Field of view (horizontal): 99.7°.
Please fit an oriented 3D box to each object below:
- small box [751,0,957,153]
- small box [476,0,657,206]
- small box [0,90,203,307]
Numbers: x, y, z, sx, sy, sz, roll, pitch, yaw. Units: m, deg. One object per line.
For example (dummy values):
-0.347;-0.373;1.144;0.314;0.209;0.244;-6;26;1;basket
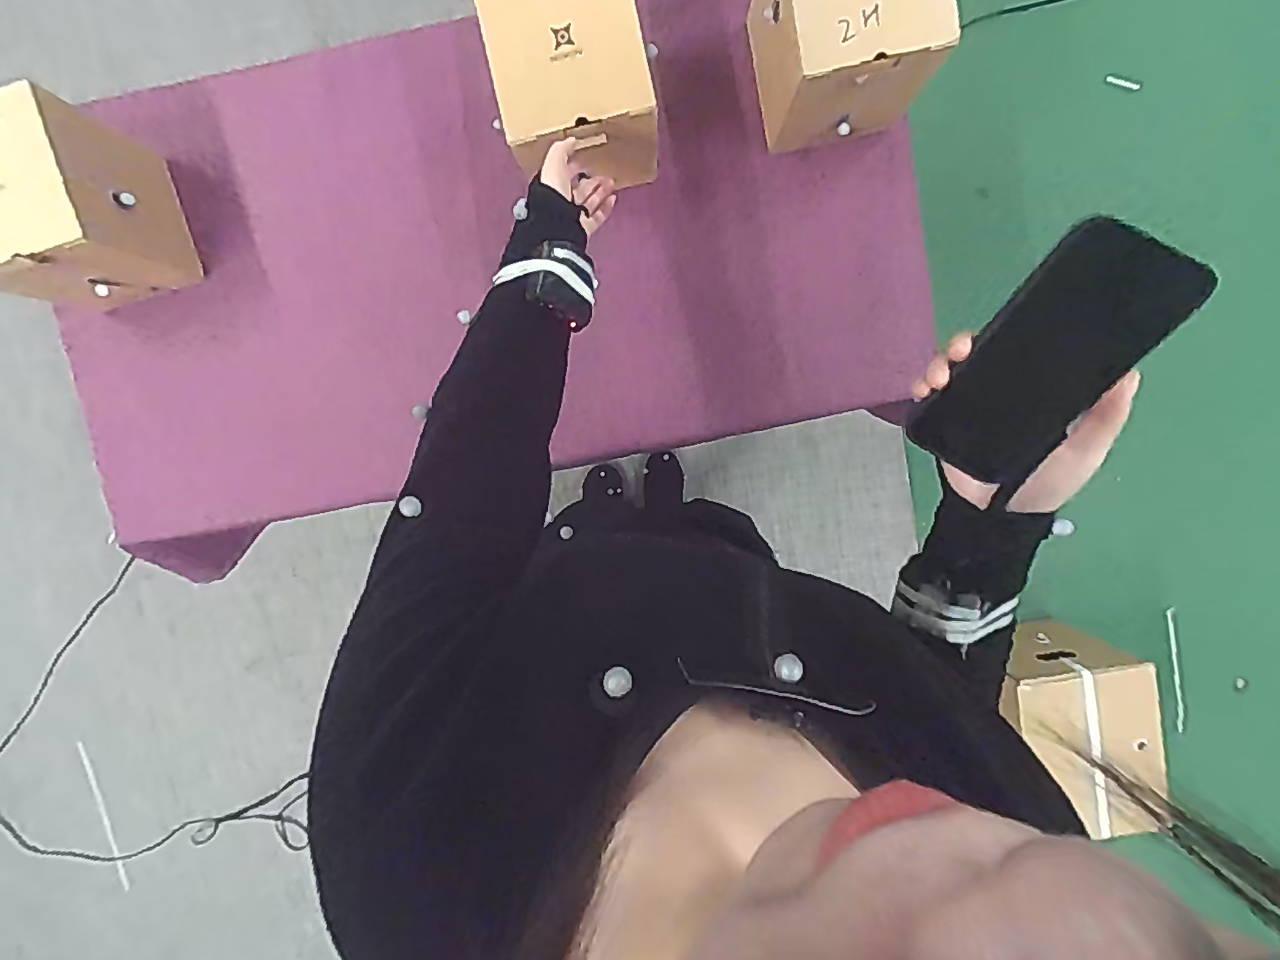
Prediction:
0.233;-0.526;0.632;0.168;0.176;0.179;-11;96;4;small box
-0.079;-0.466;0.649;0.168;0.176;0.179;-13;95;3;small box
-0.706;-0.329;0.676;0.168;0.176;0.179;-16;96;2;small box
